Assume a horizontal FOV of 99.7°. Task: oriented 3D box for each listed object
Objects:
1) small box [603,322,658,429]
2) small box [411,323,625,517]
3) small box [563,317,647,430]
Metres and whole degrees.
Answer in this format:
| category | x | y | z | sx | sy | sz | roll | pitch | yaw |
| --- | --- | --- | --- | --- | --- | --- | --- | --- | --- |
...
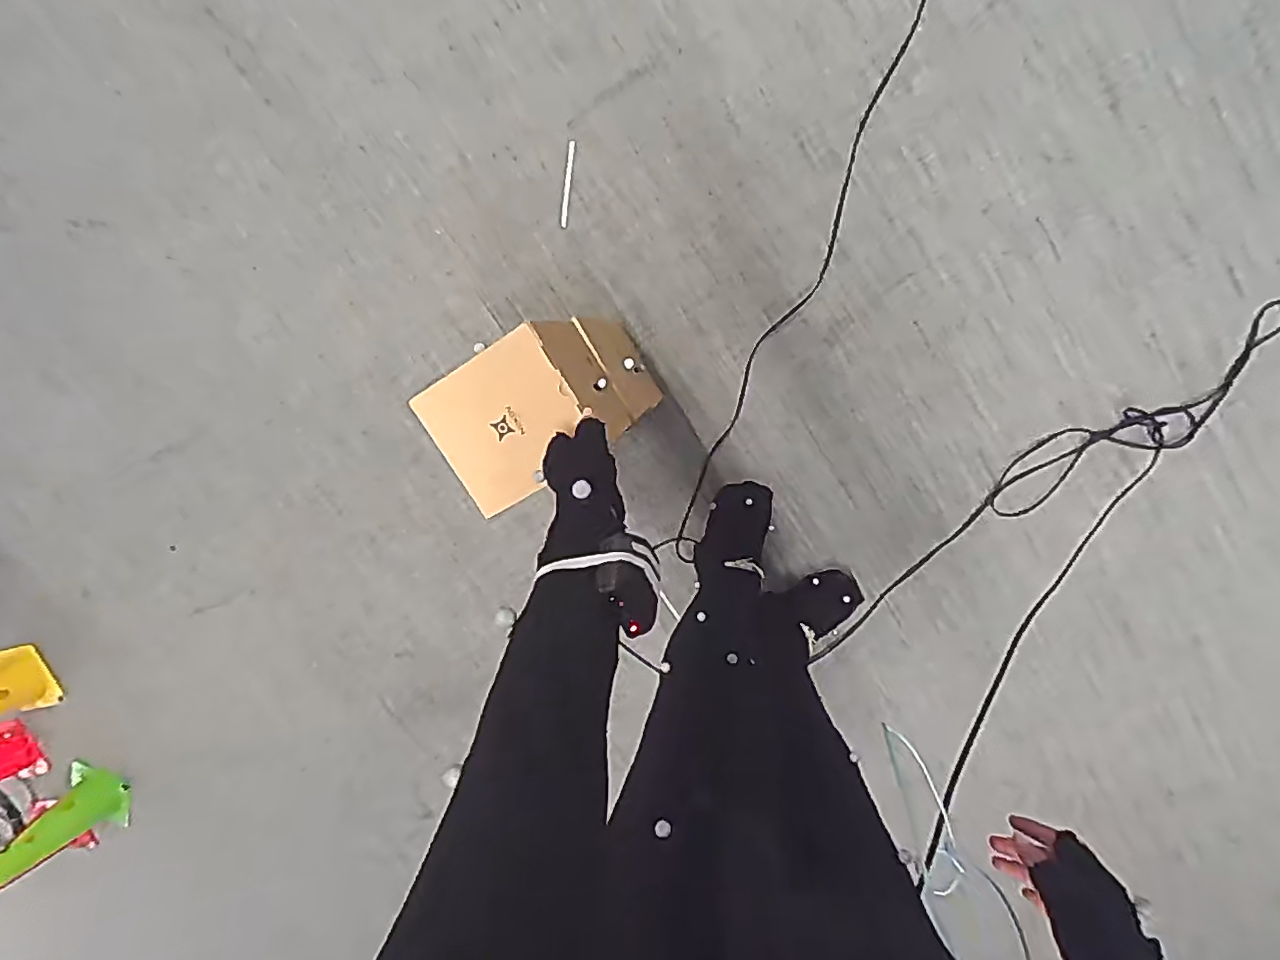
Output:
| category | x | y | z | sx | sy | sz | roll | pitch | yaw |
| --- | --- | --- | --- | --- | --- | --- | --- | --- | --- |
| small box | -0.080 | -0.175 | 0.994 | 0.168 | 0.176 | 0.179 | -29 | 101 | 16 |
| small box | -0.139 | -0.082 | 0.686 | 0.179 | 0.176 | 0.168 | -29 | 100 | 15 |
| small box | -0.108 | -0.134 | 0.837 | 0.179 | 0.176 | 0.168 | -28 | 100 | 15 |
